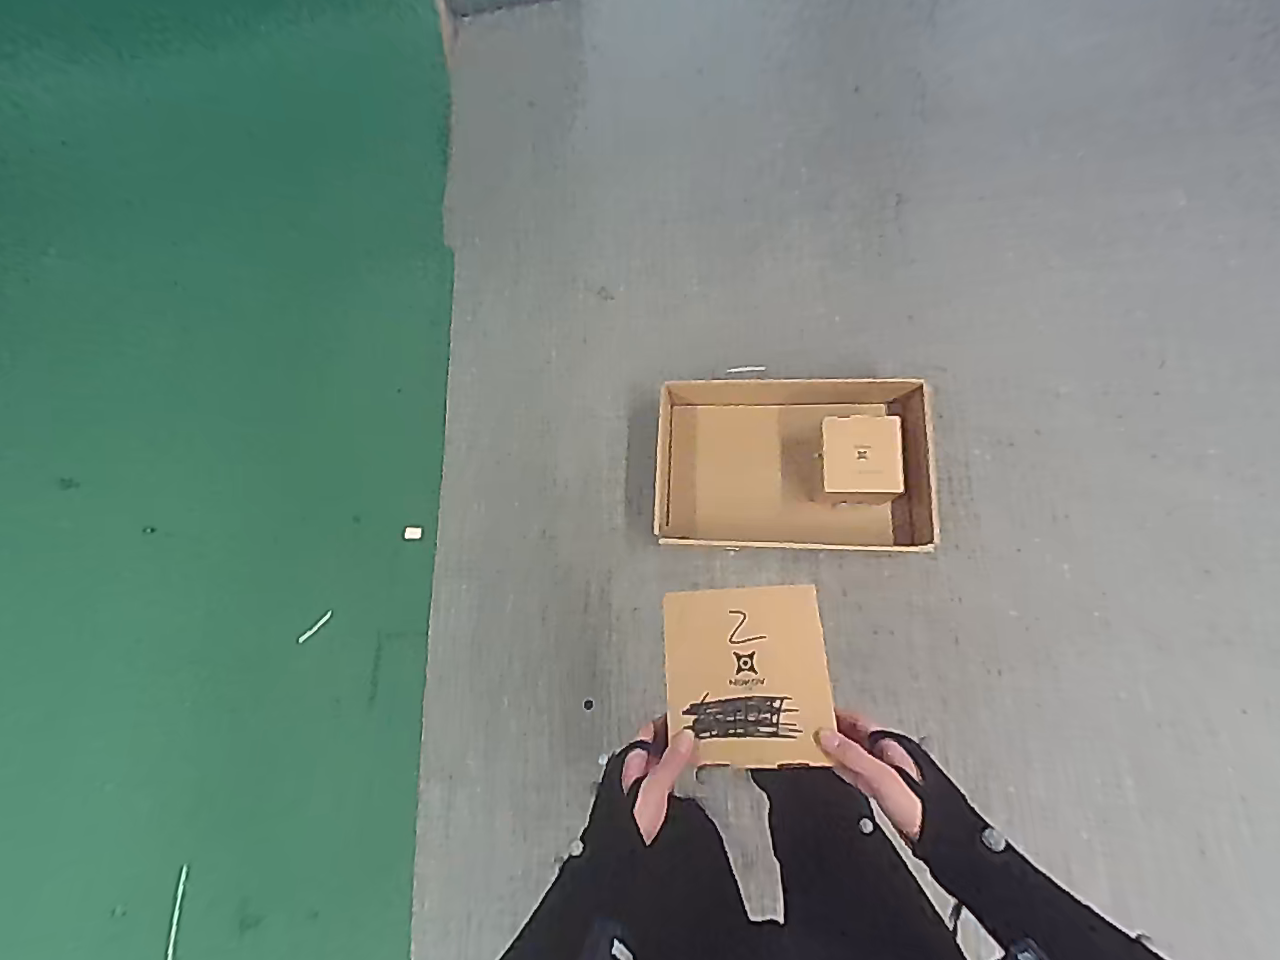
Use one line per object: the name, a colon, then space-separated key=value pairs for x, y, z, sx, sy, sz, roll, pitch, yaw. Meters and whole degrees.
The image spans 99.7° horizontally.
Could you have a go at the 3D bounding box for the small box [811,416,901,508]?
small box: x=0.496 y=-0.039 z=1.263 sx=0.168 sy=0.176 sz=0.179 roll=1 pitch=78 yaw=9
